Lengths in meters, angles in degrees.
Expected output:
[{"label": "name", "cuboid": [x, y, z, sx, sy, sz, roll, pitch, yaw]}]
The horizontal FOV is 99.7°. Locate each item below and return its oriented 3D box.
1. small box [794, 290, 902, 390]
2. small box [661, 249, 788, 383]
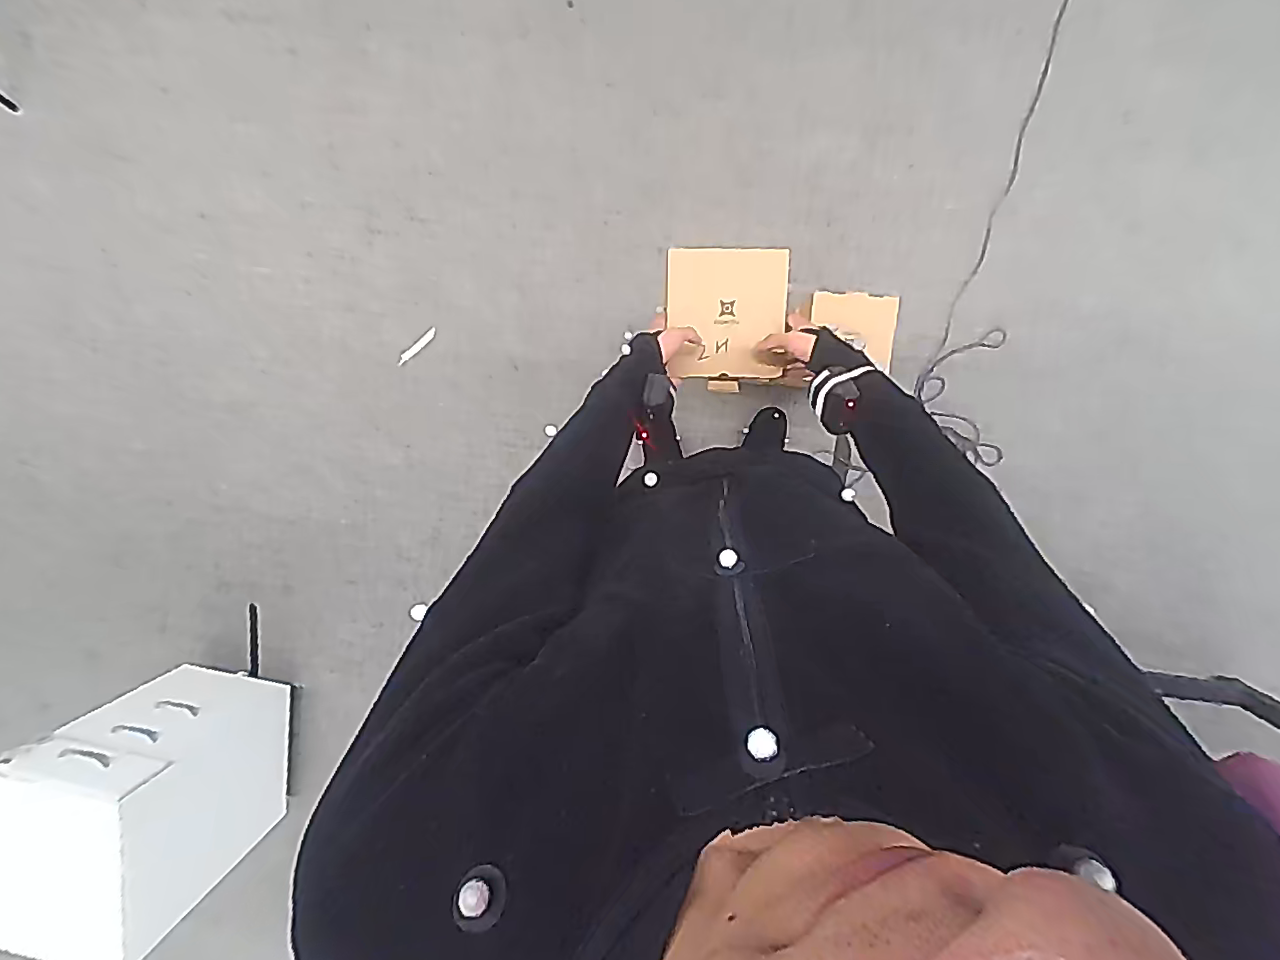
[{"label": "small box", "cuboid": [0.425, -0.286, 1.134, 0.168, 0.176, 0.179, 7, 99, 7]}, {"label": "small box", "cuboid": [0.117, -0.238, 0.818, 0.168, 0.176, 0.179, 1, 101, 2]}]
